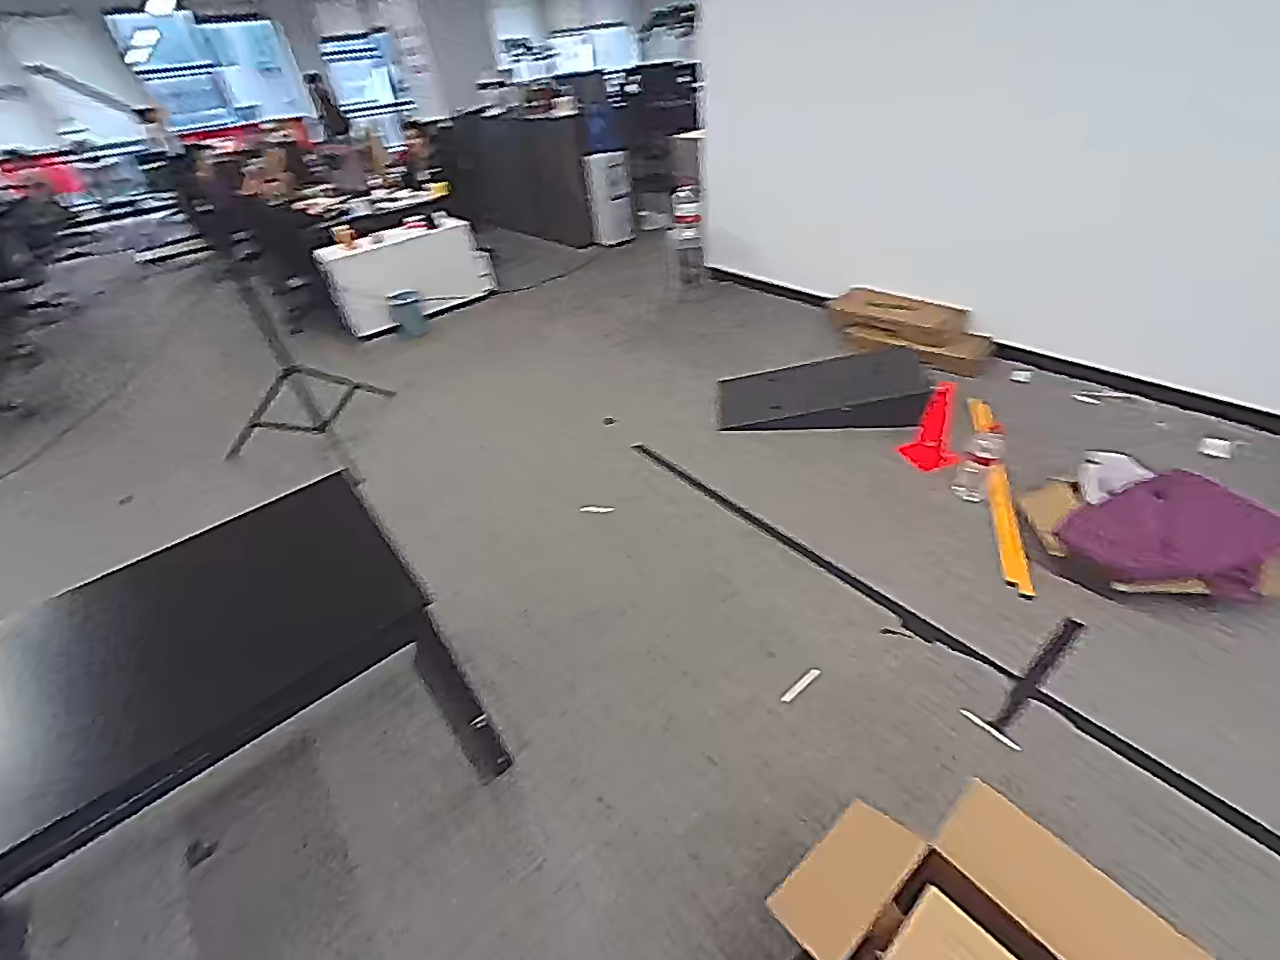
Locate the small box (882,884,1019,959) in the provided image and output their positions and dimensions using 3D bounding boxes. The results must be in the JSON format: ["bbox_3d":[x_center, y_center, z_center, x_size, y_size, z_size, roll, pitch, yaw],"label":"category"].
[{"bbox_3d":[0.505,0.838,0.895,0.179,0.176,0.168,-31,42,-29],"label":"small box"}]
